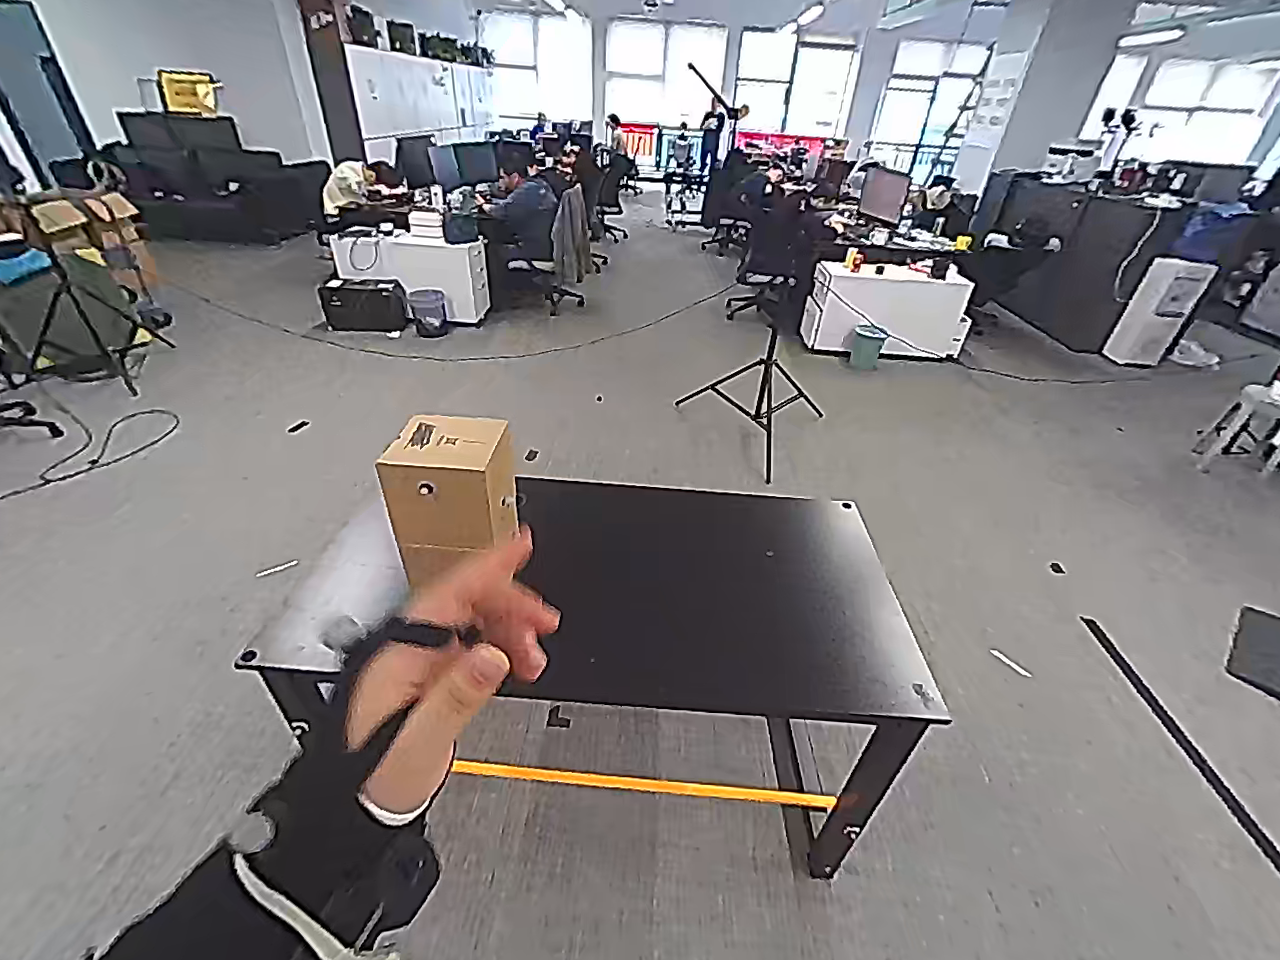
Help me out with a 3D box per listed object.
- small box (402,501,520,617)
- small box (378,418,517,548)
[{"bbox_3d":[-0.336,0.140,1.054,0.168,0.176,0.179,3,35,1],"label":"small box"},{"bbox_3d":[-0.328,0.005,0.959,0.179,0.176,0.168,4,35,0],"label":"small box"}]
